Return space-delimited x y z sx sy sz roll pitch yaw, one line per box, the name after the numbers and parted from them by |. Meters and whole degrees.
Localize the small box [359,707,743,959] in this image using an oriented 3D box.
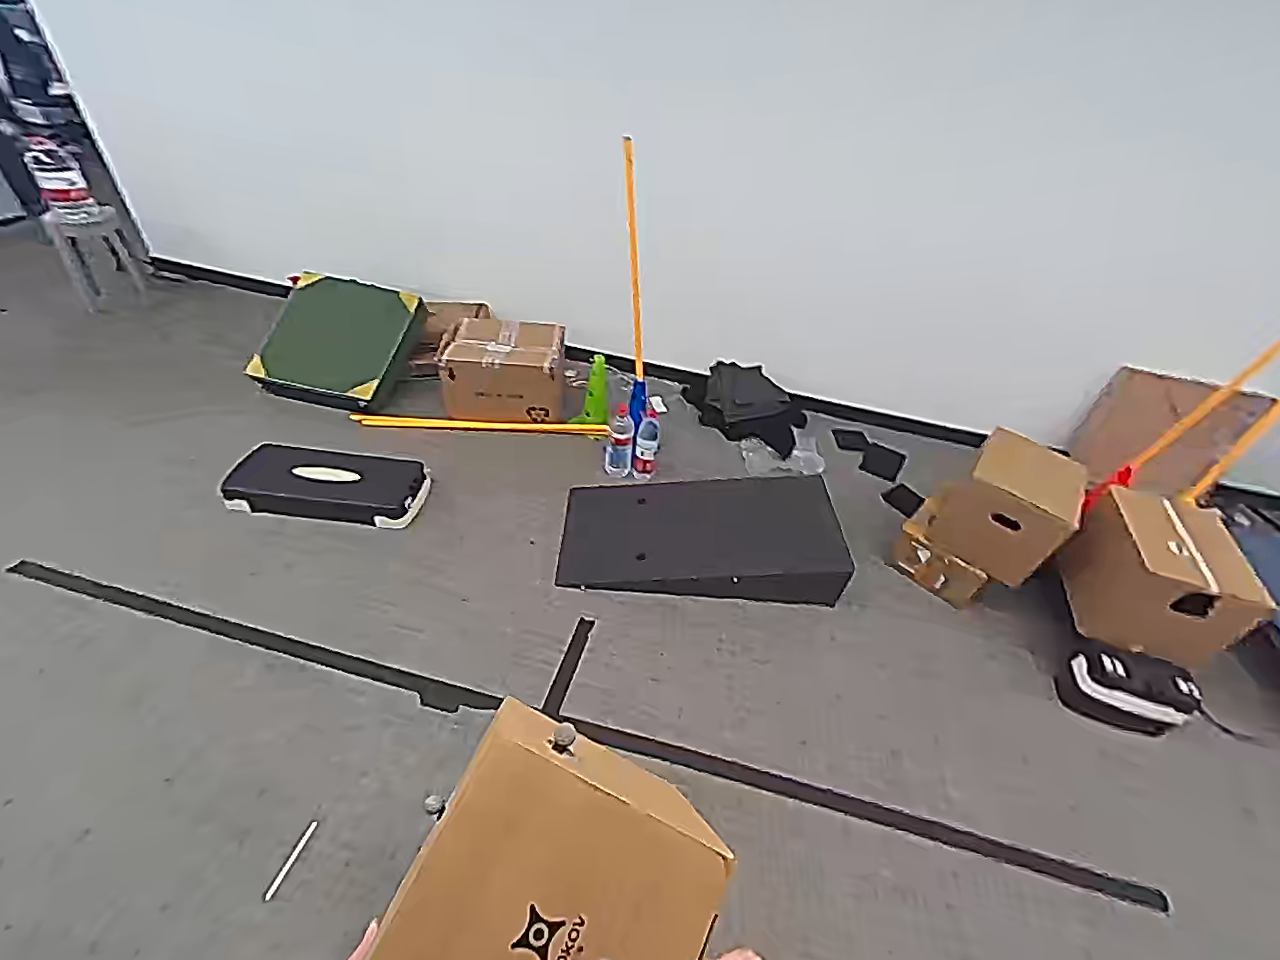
-0.063 0.276 0.376 0.179 0.176 0.168 30 71 -2 | small box
